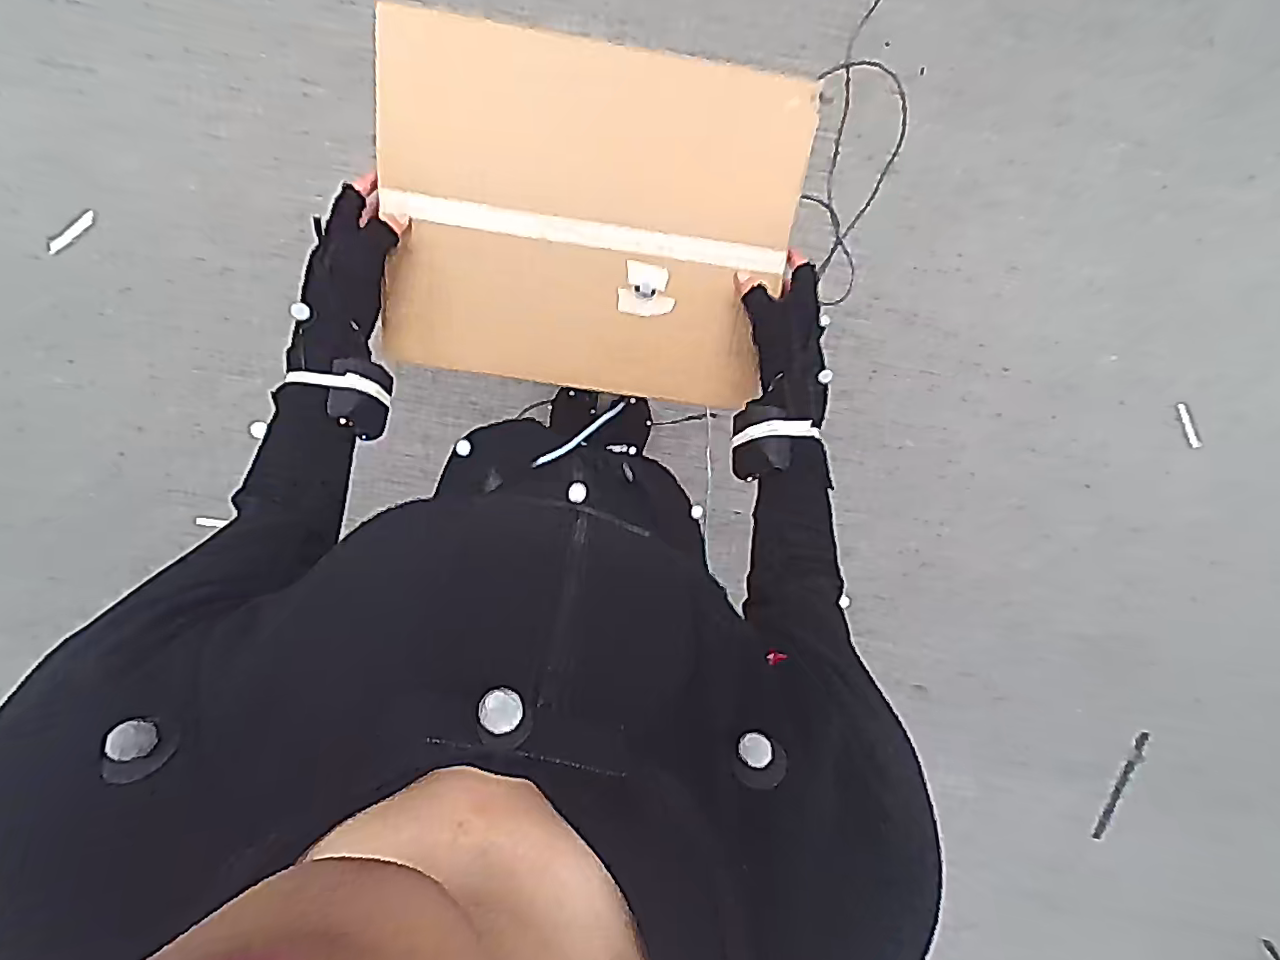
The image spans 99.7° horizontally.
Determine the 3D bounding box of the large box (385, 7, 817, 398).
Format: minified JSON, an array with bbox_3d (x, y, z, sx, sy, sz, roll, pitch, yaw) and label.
[{"bbox_3d":[-0.054,-0.308,0.681,0.408,0.320,0.320,8,112,-4],"label":"large box"}]
